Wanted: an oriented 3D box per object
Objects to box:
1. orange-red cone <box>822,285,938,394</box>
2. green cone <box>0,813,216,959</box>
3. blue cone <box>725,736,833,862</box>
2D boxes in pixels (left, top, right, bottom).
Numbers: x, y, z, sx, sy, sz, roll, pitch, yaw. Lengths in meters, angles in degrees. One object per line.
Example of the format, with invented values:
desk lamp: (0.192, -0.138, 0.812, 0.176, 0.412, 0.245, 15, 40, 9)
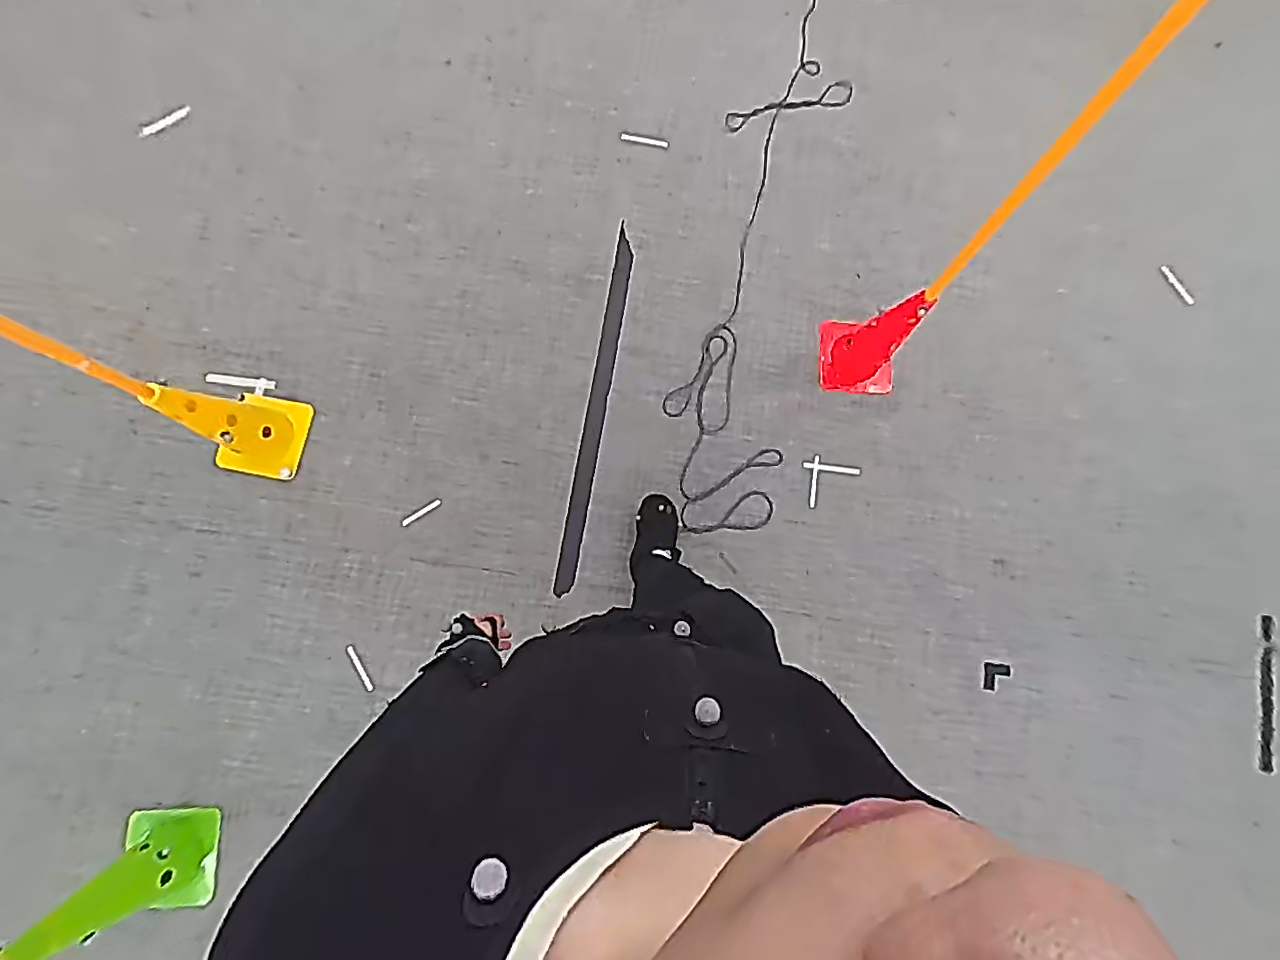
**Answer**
orange-red cone: (0.599, -0.362, 1.305, 0.199, 0.360, 0.198, 4, 80, -1)
green cone: (-1.043, 0.820, 1.031, 0.200, 0.368, 0.202, -1, 79, -4)
blue cone: (0.313, 0.698, 1.136, 0.193, 0.380, 0.192, 12, 80, -1)
